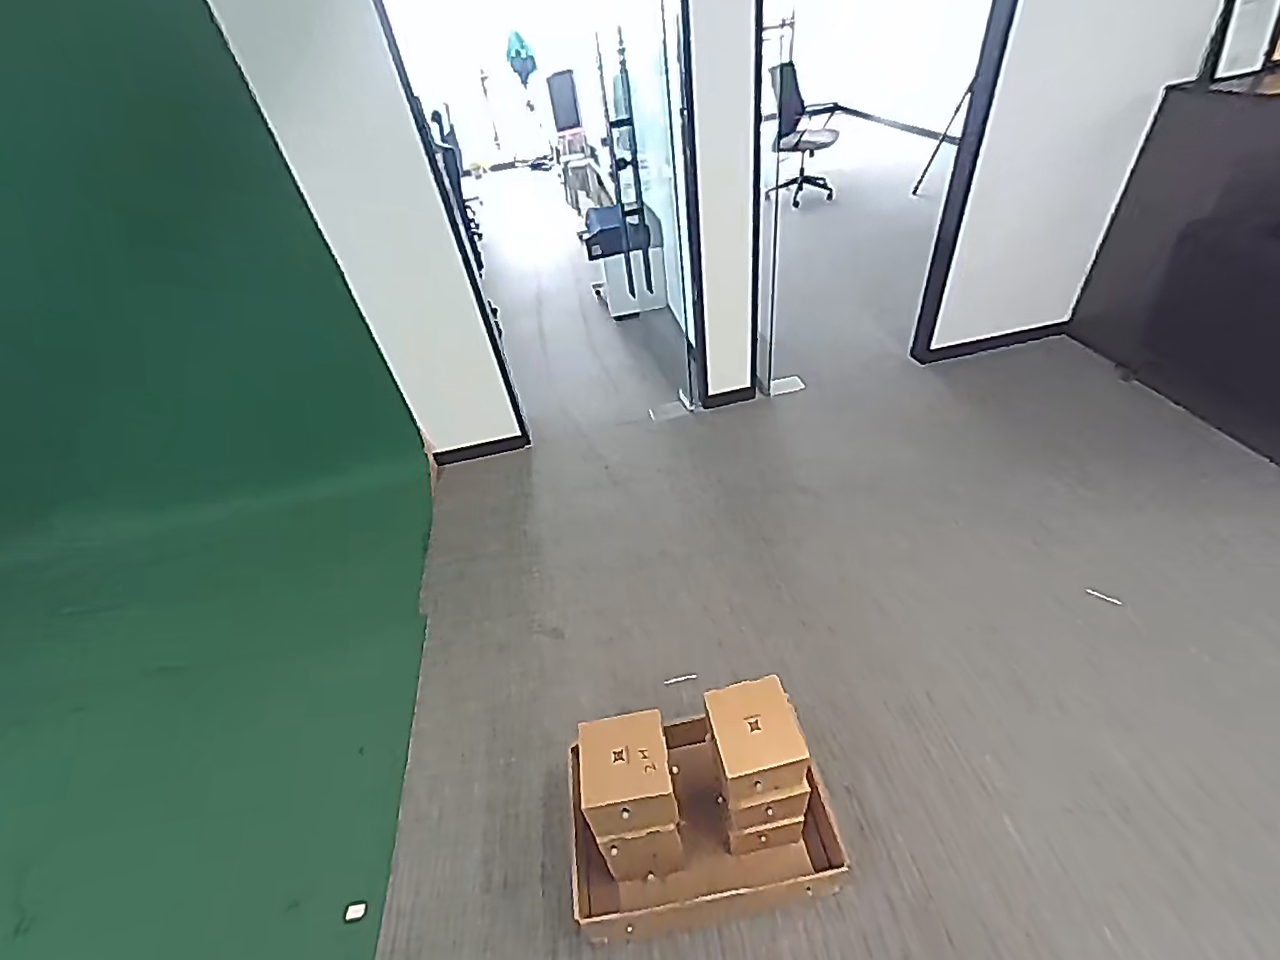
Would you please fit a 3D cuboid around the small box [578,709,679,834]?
[{"bbox_3d":[-0.023,0.602,1.111,0.179,0.176,0.168,-10,41,-1],"label":"small box"}]

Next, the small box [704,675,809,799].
[{"bbox_3d":[0.241,0.545,1.134,0.168,0.176,0.179,-14,42,-2],"label":"small box"}]

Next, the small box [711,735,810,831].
[{"bbox_3d":[0.270,0.671,1.232,0.179,0.176,0.168,-12,43,-2],"label":"small box"}]
